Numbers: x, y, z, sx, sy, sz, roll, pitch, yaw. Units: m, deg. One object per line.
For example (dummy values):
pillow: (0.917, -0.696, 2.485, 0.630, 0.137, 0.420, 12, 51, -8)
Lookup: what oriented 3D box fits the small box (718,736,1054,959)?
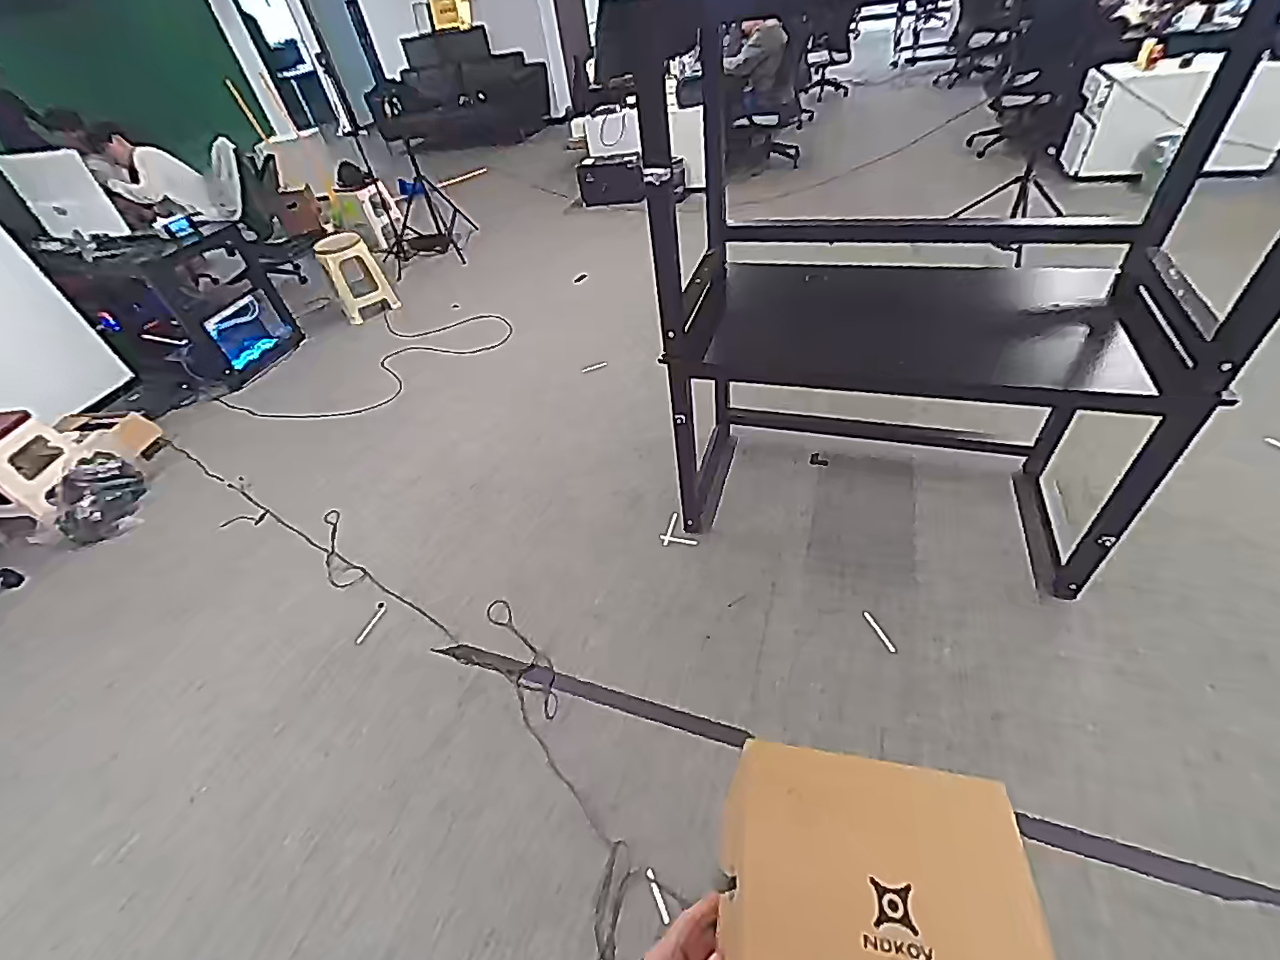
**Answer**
small box: (0.140, 0.301, 0.354, 0.168, 0.176, 0.179, 6, 45, 8)
